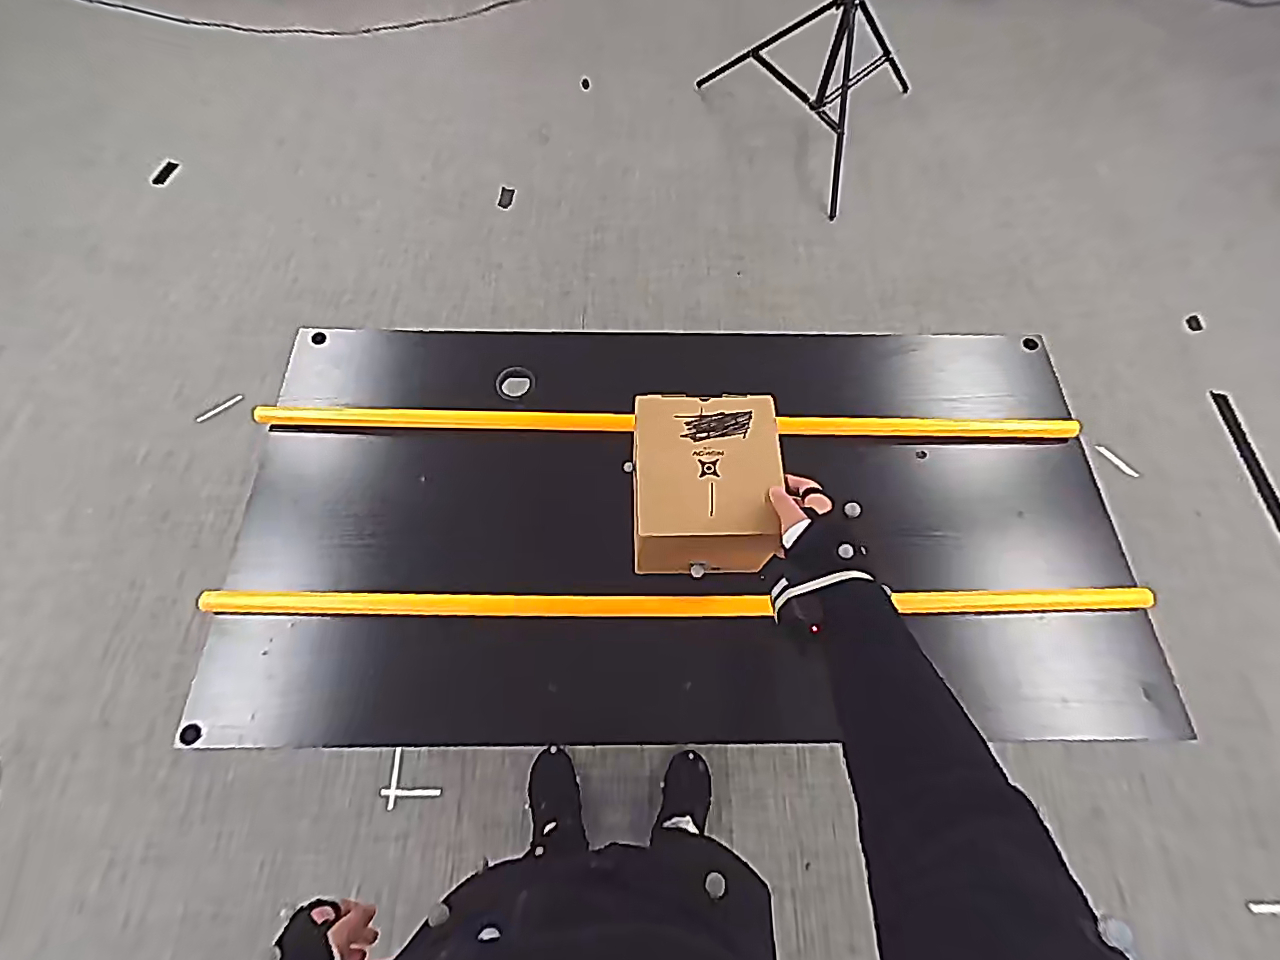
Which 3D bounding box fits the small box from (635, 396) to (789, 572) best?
[{"bbox_3d":[0.077,0.011,0.689,0.168,0.176,0.179,-1,67,-1],"label":"small box"}]
